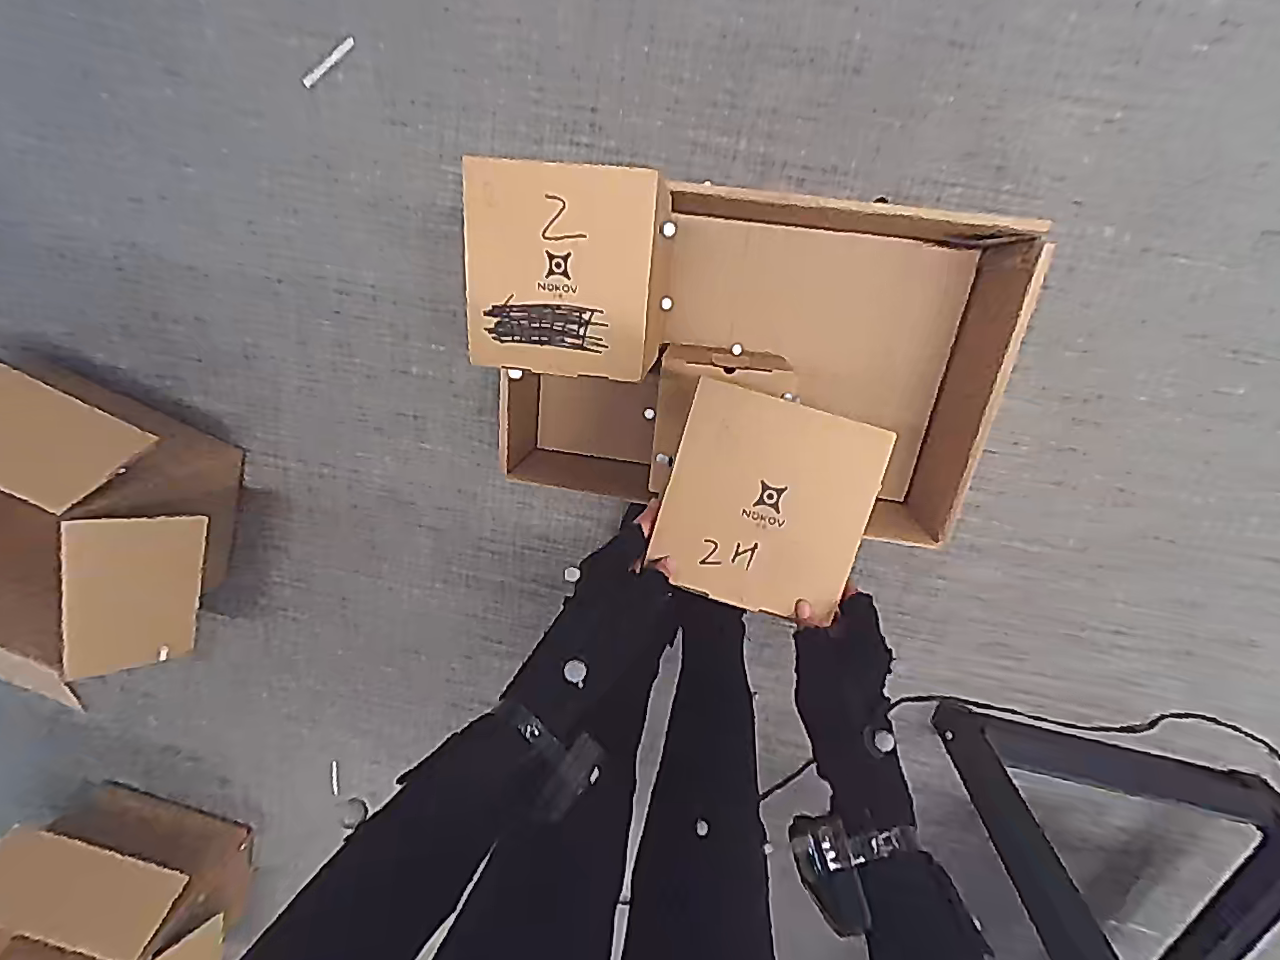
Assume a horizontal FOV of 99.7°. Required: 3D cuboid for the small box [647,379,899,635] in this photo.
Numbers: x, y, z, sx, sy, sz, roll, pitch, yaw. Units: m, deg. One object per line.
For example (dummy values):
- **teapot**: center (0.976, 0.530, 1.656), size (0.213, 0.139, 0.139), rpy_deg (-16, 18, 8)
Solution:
- **small box**: center (0.110, 0.016, 0.519), size (0.168, 0.176, 0.179), rpy_deg (17, 97, 2)
